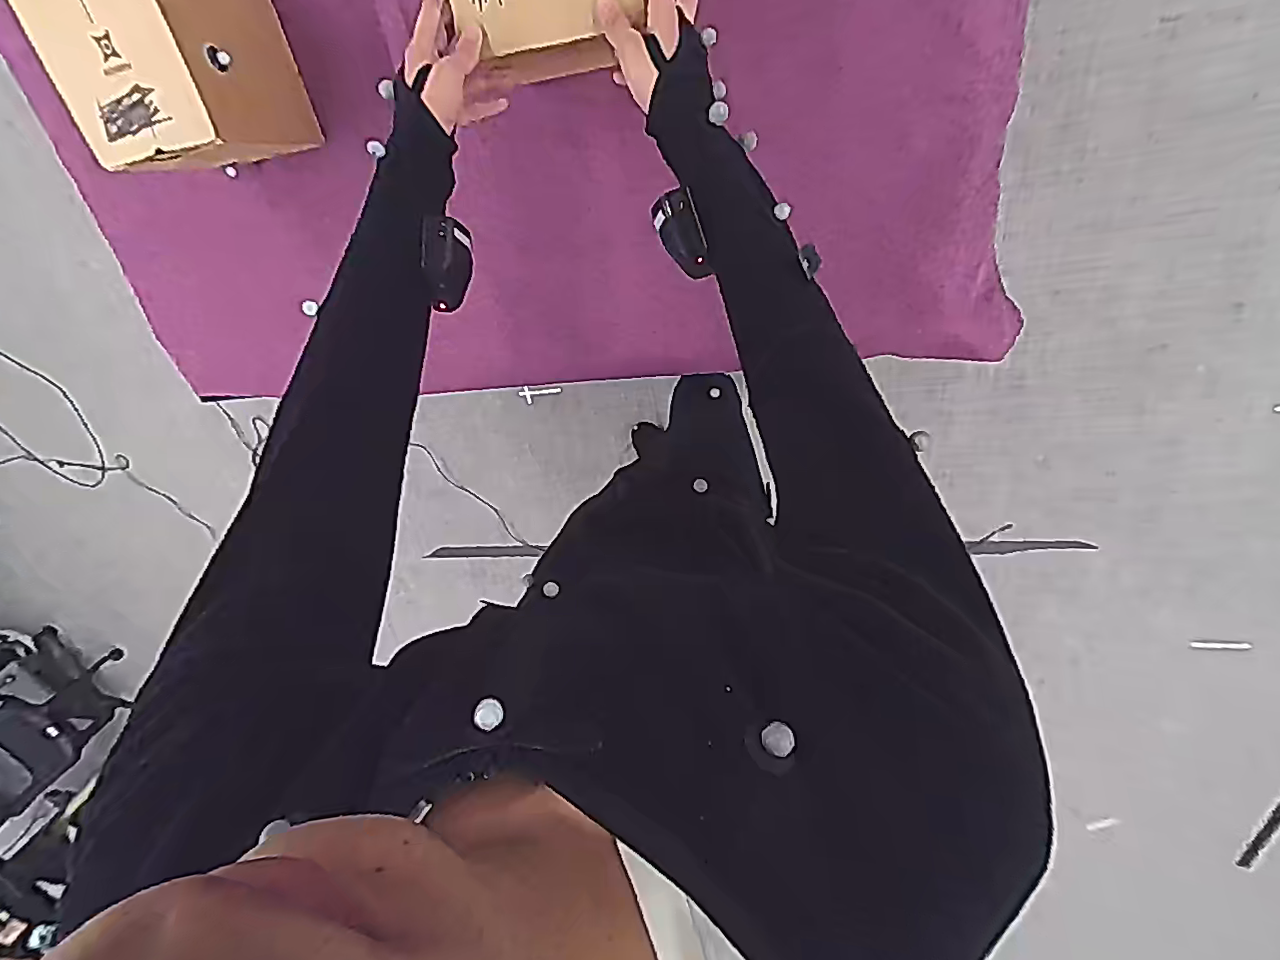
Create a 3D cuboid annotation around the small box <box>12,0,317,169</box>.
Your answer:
[{"bbox_3d":[-0.514,-0.466,0.610,0.168,0.176,0.179,-3,120,13],"label":"small box"}]
